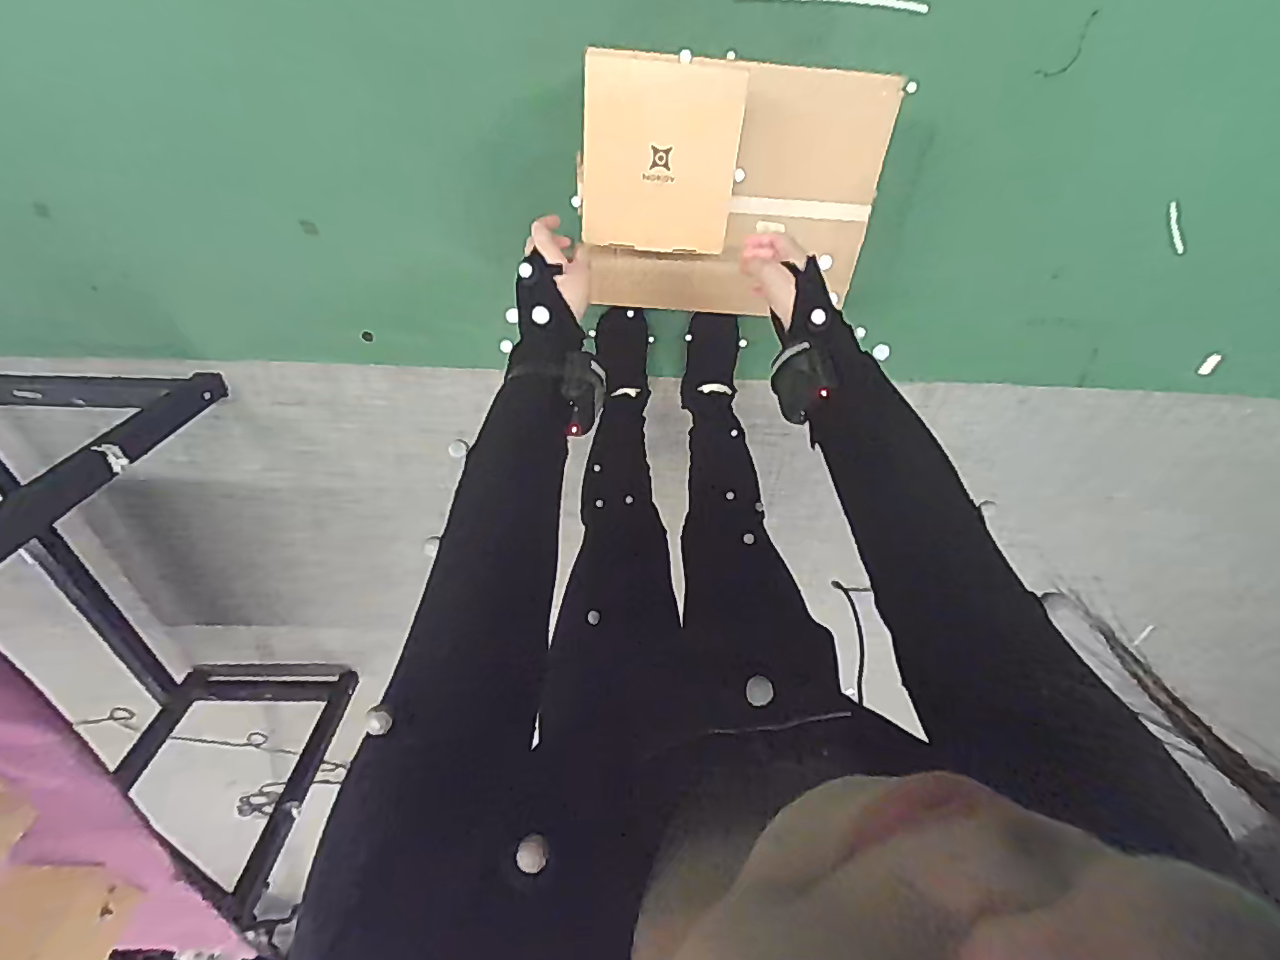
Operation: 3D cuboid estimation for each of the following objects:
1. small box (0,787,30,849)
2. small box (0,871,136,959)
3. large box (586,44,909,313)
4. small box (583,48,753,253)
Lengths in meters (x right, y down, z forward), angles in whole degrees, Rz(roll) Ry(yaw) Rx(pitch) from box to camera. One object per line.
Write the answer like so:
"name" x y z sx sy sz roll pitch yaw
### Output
"small box" -1.050 0.514 0.753 0.179 0.176 0.168 2 126 -2
"small box" -1.095 0.834 0.980 0.179 0.176 0.168 1 126 1
"large box" 0.123 -0.474 0.863 0.408 0.320 0.320 2 126 -3
"small box" 0.021 -0.380 0.631 0.168 0.176 0.179 3 125 -3
